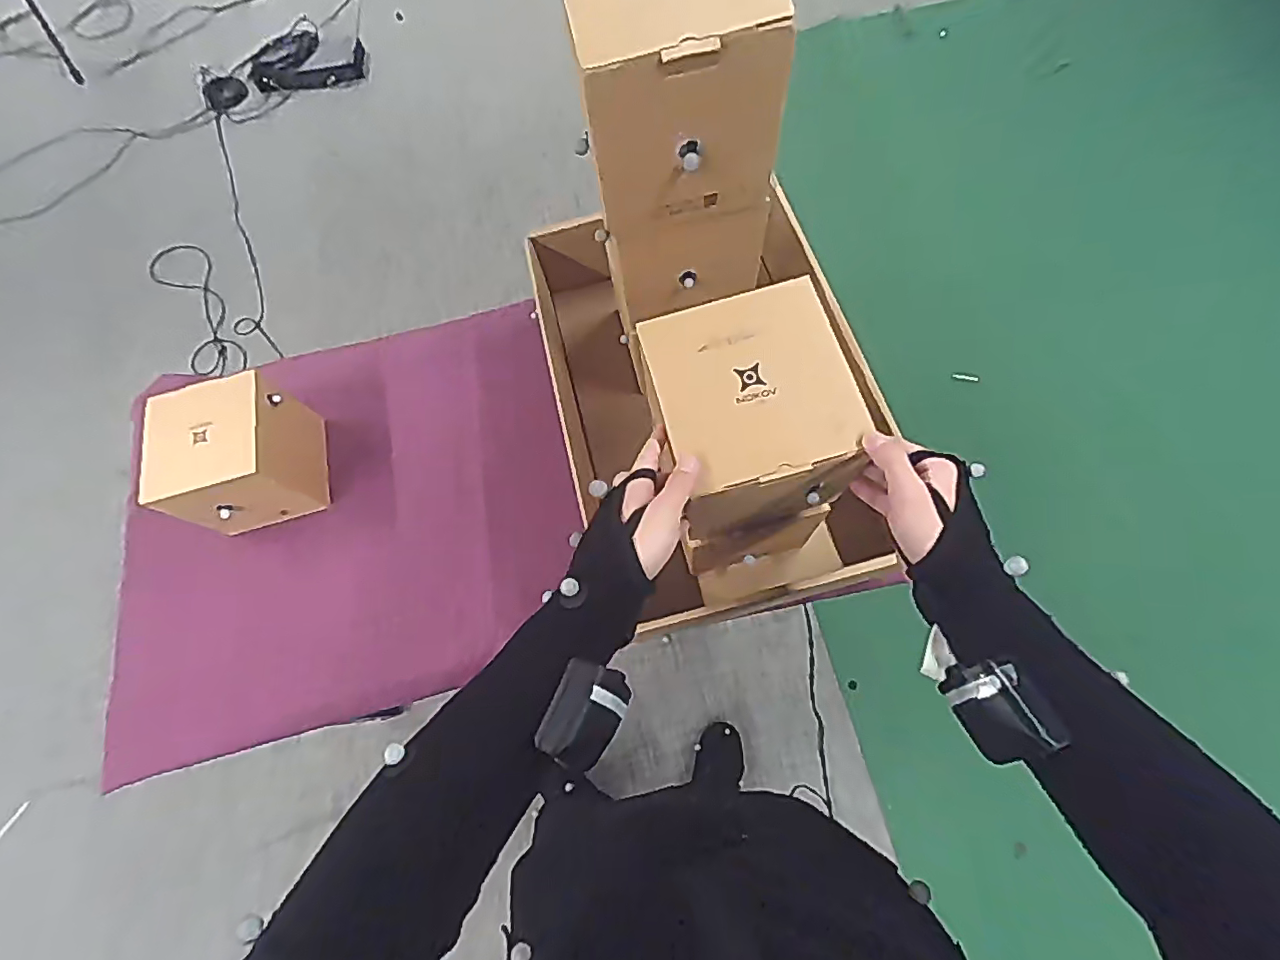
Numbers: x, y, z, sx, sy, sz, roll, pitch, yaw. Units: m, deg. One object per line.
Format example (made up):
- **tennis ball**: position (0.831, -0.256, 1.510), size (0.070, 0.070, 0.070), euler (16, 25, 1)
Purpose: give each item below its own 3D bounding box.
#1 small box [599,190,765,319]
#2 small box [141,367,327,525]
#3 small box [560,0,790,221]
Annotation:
- **small box**: position (0.042, -0.318, 0.658), size (0.168, 0.176, 0.179), euler (-13, 69, 0)
- **small box**: position (-0.614, -0.040, 0.840), size (0.168, 0.176, 0.179), euler (-16, 68, -2)
- **small box**: position (0.026, -0.371, 0.504), size (0.168, 0.176, 0.179), euler (-12, 71, 1)
